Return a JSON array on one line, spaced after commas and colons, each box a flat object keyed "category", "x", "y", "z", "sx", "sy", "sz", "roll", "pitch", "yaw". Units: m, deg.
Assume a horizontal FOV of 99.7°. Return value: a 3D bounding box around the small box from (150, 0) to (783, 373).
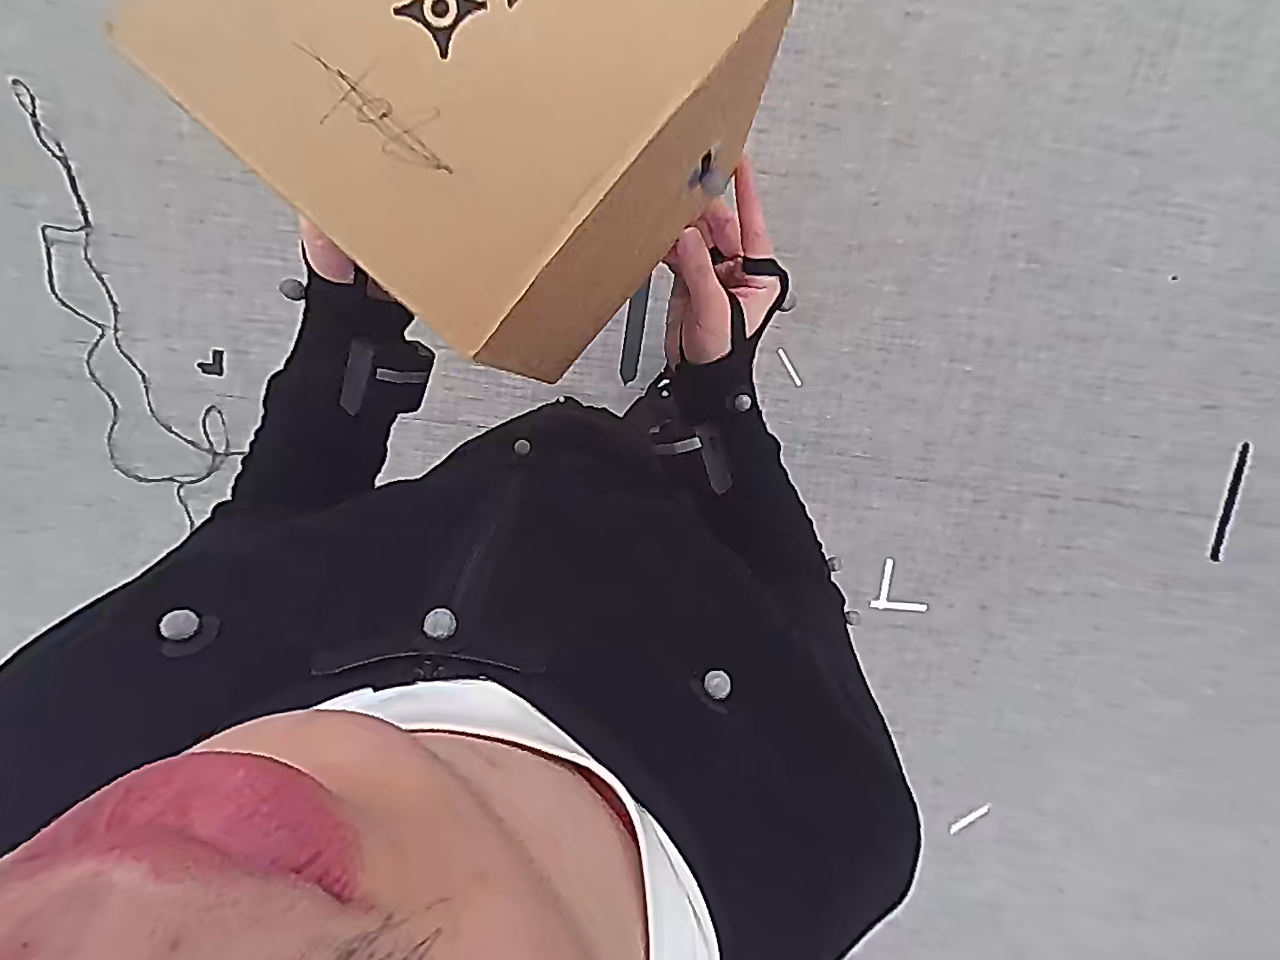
[{"category": "small box", "x": -0.062, "y": -0.176, "z": 0.273, "sx": 0.168, "sy": 0.176, "sz": 0.179, "roll": 40, "pitch": 95, "yaw": -2}]
